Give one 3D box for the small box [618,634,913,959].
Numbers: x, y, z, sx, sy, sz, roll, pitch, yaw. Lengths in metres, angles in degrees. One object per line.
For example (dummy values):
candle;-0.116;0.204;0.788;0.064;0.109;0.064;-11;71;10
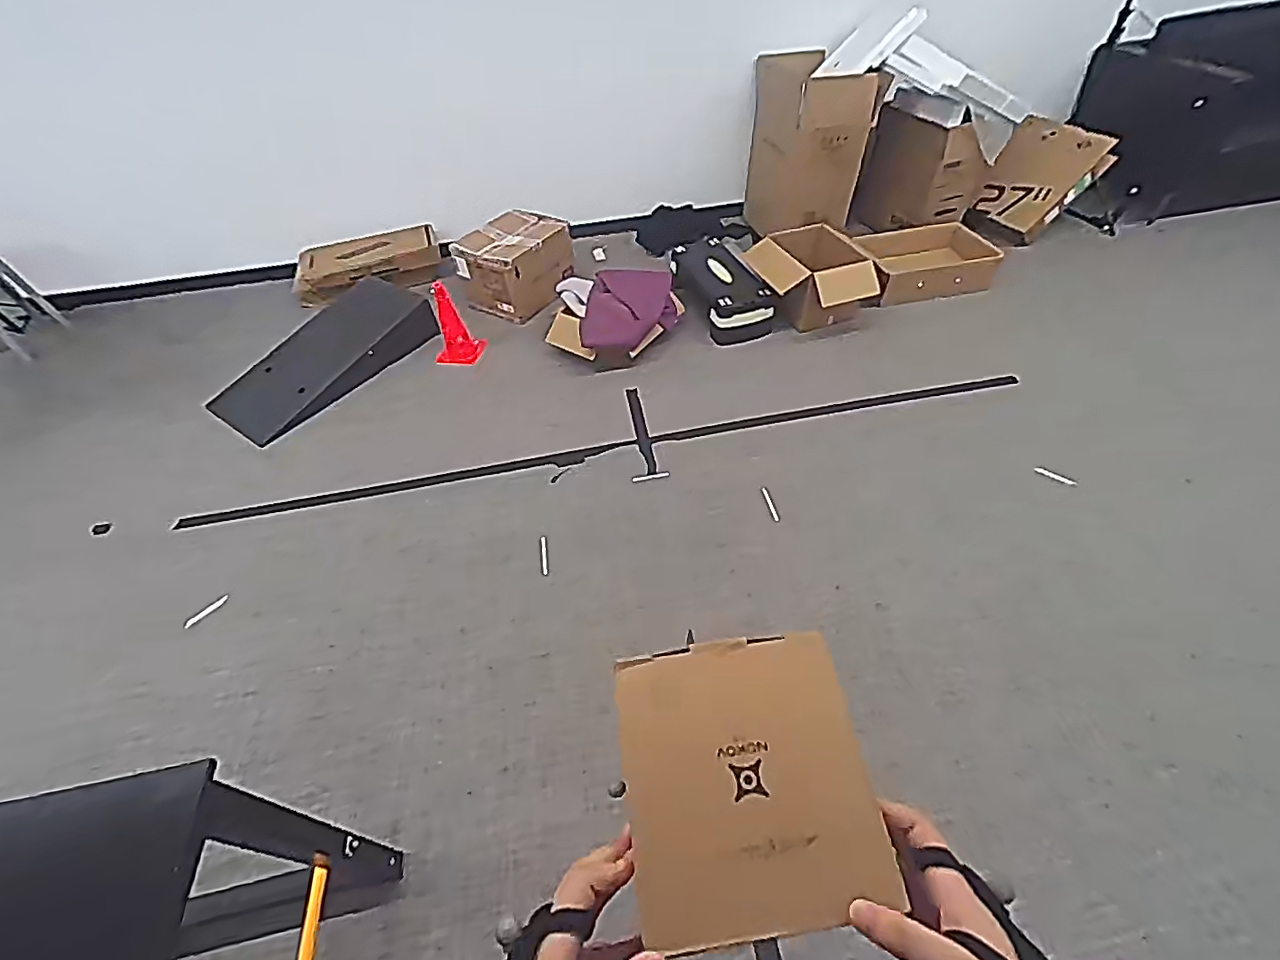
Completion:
small box;0.073;0.239;0.429;0.168;0.176;0.179;-7;59;-3
